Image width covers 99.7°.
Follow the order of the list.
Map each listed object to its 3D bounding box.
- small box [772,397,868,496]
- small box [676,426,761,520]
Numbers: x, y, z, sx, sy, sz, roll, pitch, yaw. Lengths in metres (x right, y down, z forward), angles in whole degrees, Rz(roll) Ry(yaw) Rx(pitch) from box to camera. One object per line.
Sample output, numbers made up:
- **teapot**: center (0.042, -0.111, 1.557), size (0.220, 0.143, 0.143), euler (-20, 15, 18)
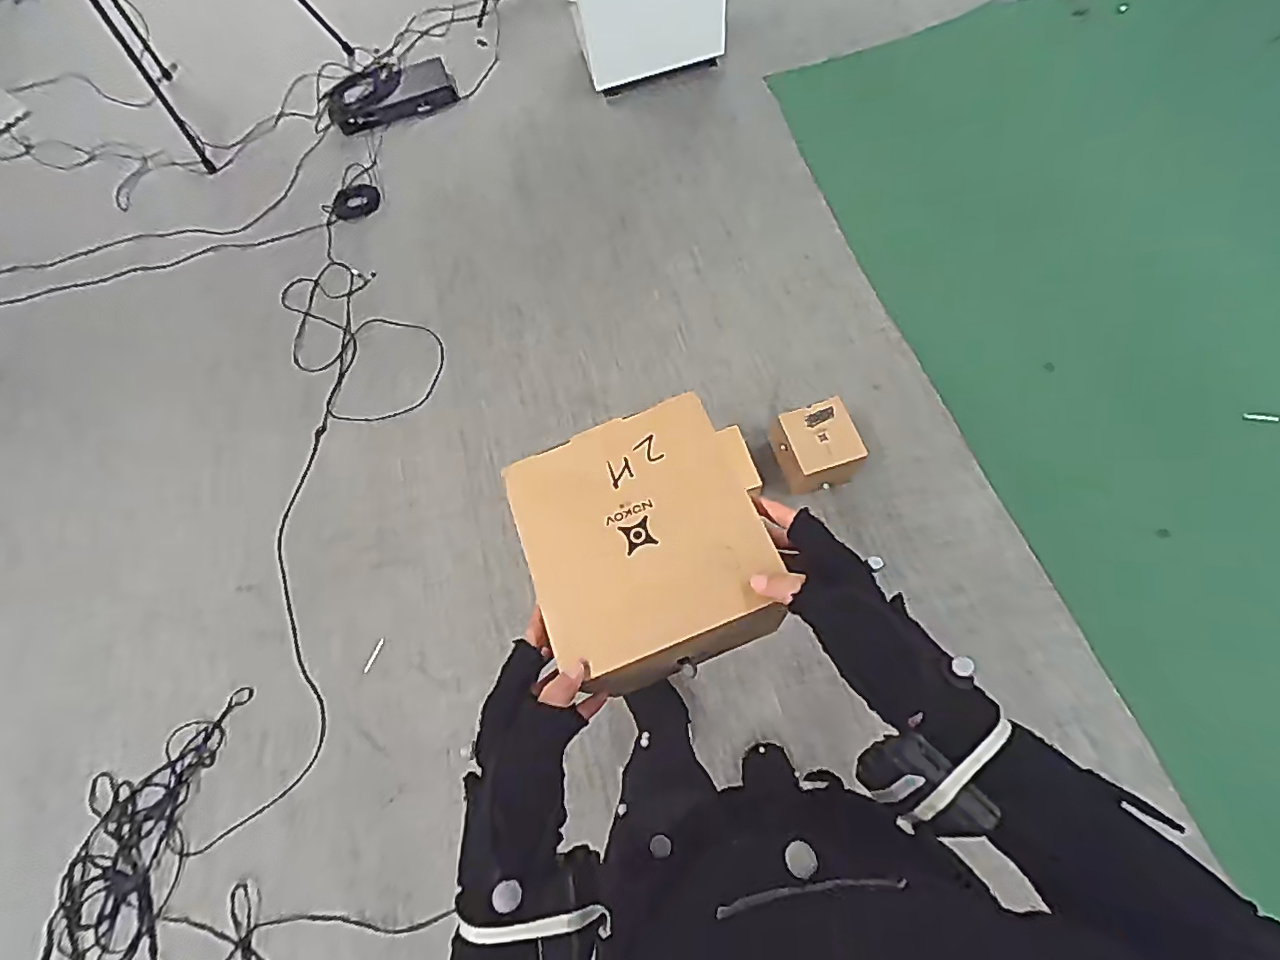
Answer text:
- **small box**: center (0.455, -0.082, 1.401), size (0.168, 0.176, 0.179), euler (-18, 69, 0)
- **small box**: center (0.202, -0.009, 1.403), size (0.168, 0.176, 0.179), euler (-18, 67, -1)
